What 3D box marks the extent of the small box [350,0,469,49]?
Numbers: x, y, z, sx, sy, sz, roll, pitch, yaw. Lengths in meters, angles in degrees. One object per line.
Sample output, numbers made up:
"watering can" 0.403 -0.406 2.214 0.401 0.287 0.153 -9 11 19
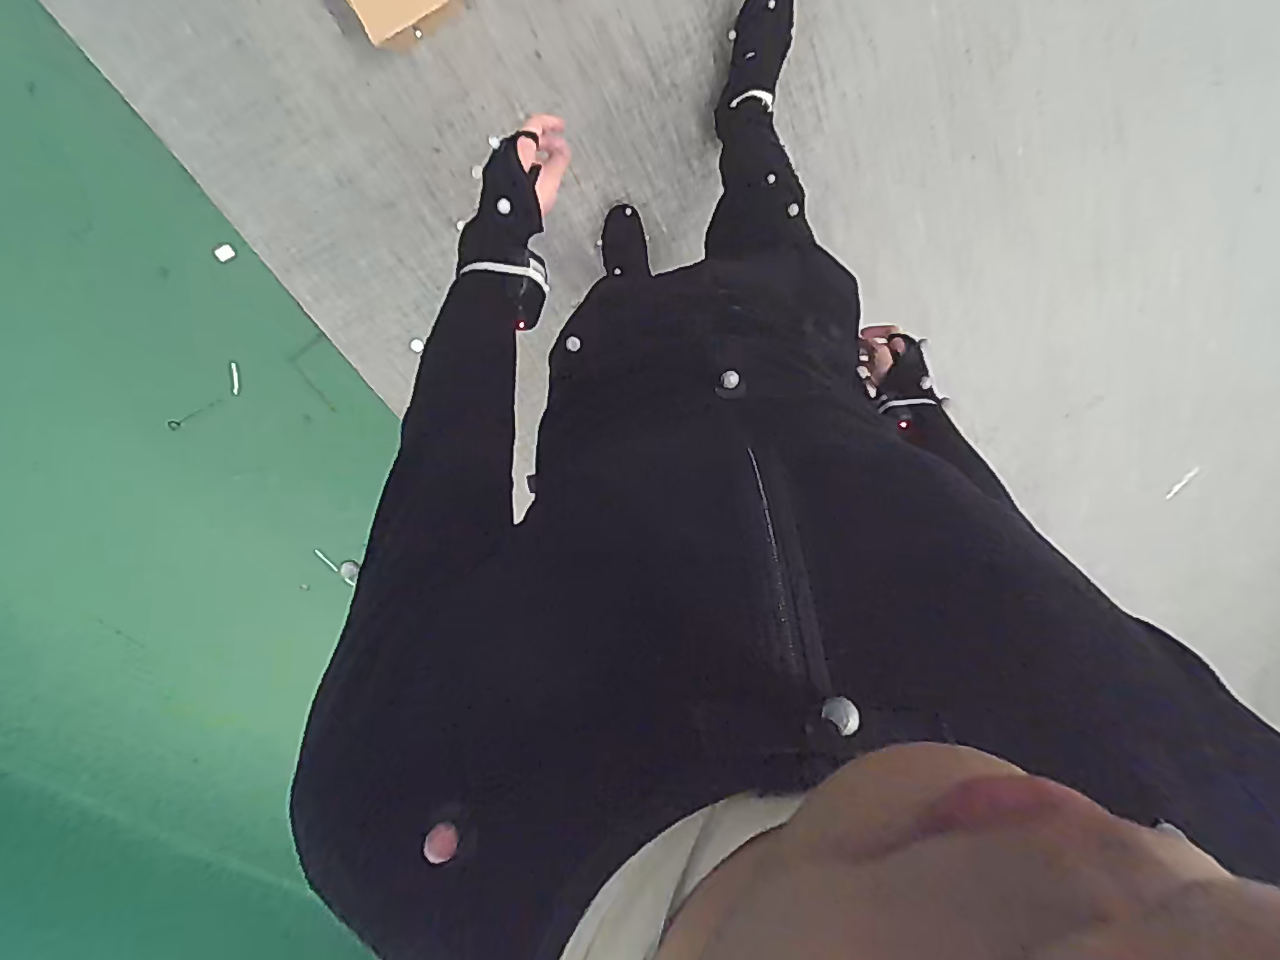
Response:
"small box" -0.462 -0.970 1.046 0.179 0.176 0.168 -19 124 11
